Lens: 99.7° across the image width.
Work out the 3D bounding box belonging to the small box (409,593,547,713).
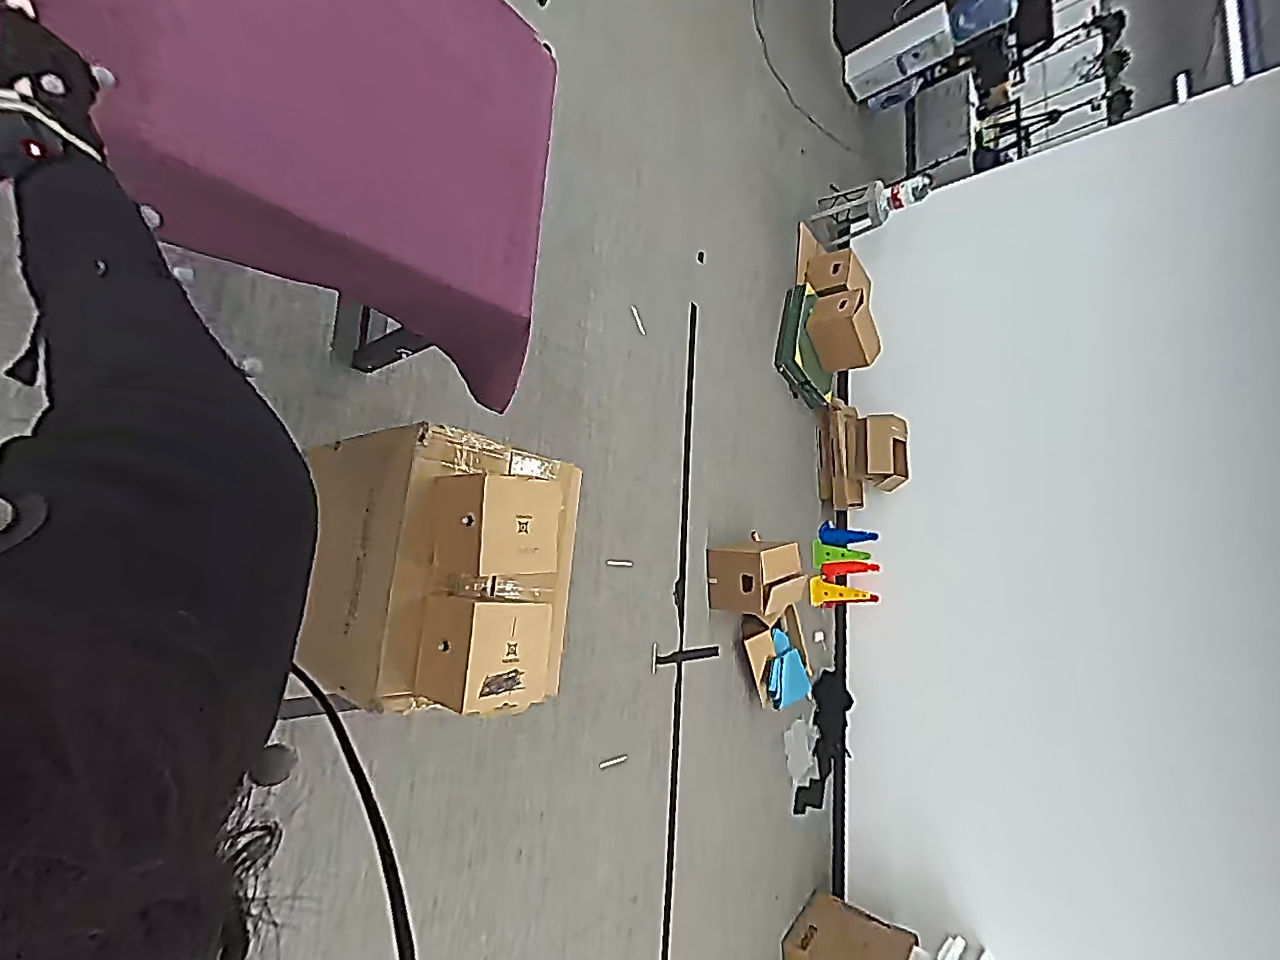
[{"bbox_3d":[-0.291,0.299,0.966,0.168,0.176,0.179,16,74,-47],"label":"small box"}]

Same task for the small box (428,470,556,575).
[{"bbox_3d":[-0.276,0.079,1.003,0.168,0.176,0.179,7,84,-47],"label":"small box"}]
